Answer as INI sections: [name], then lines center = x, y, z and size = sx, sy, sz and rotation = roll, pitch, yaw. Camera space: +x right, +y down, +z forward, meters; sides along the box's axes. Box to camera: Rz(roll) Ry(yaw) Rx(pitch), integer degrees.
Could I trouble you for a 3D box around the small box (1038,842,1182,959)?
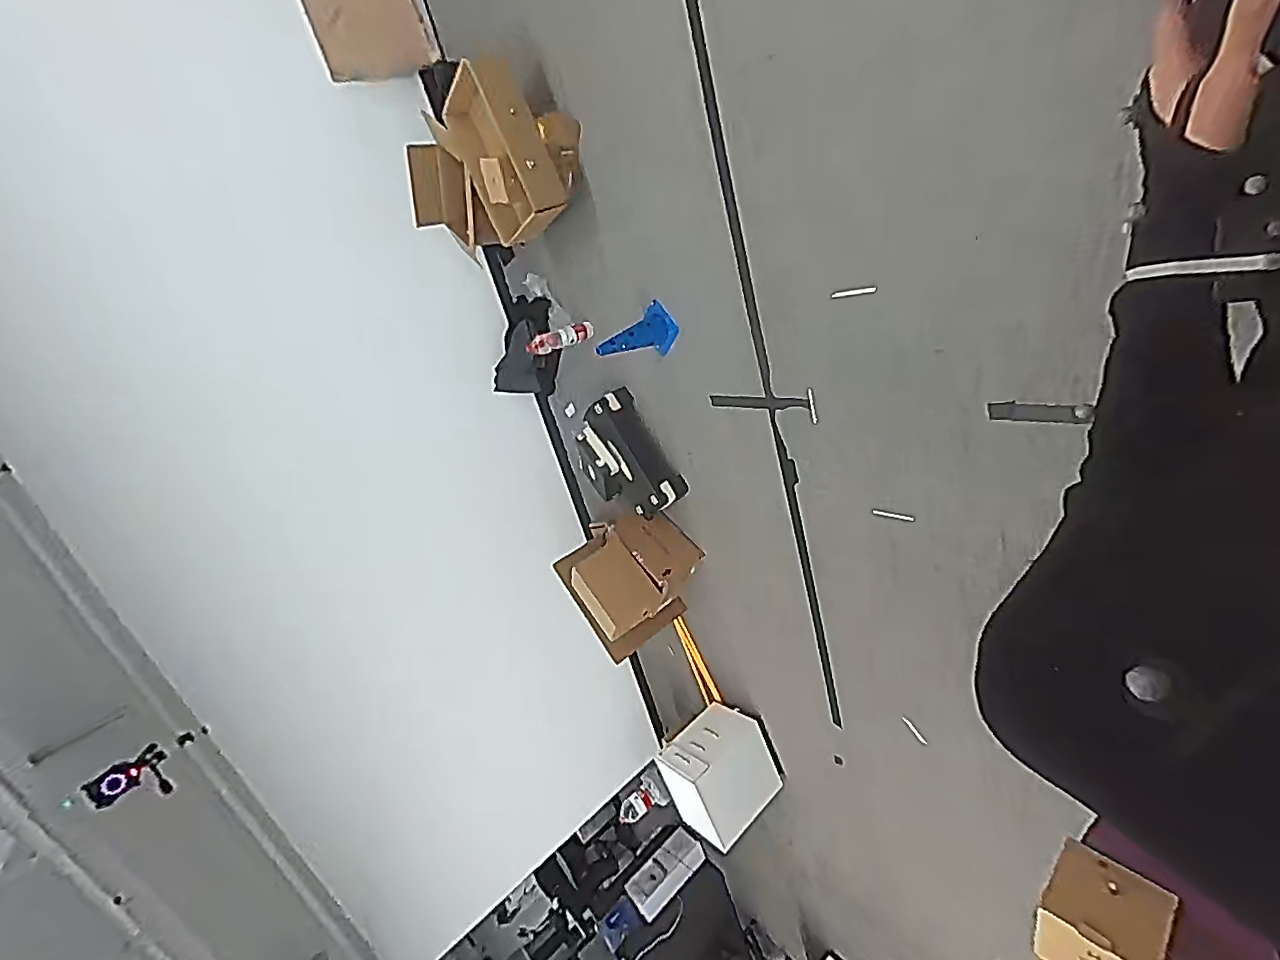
[small box]
center = 0.879, 0.843, 1.015
size = 0.168, 0.176, 0.179
rotation = 15, 129, 49
